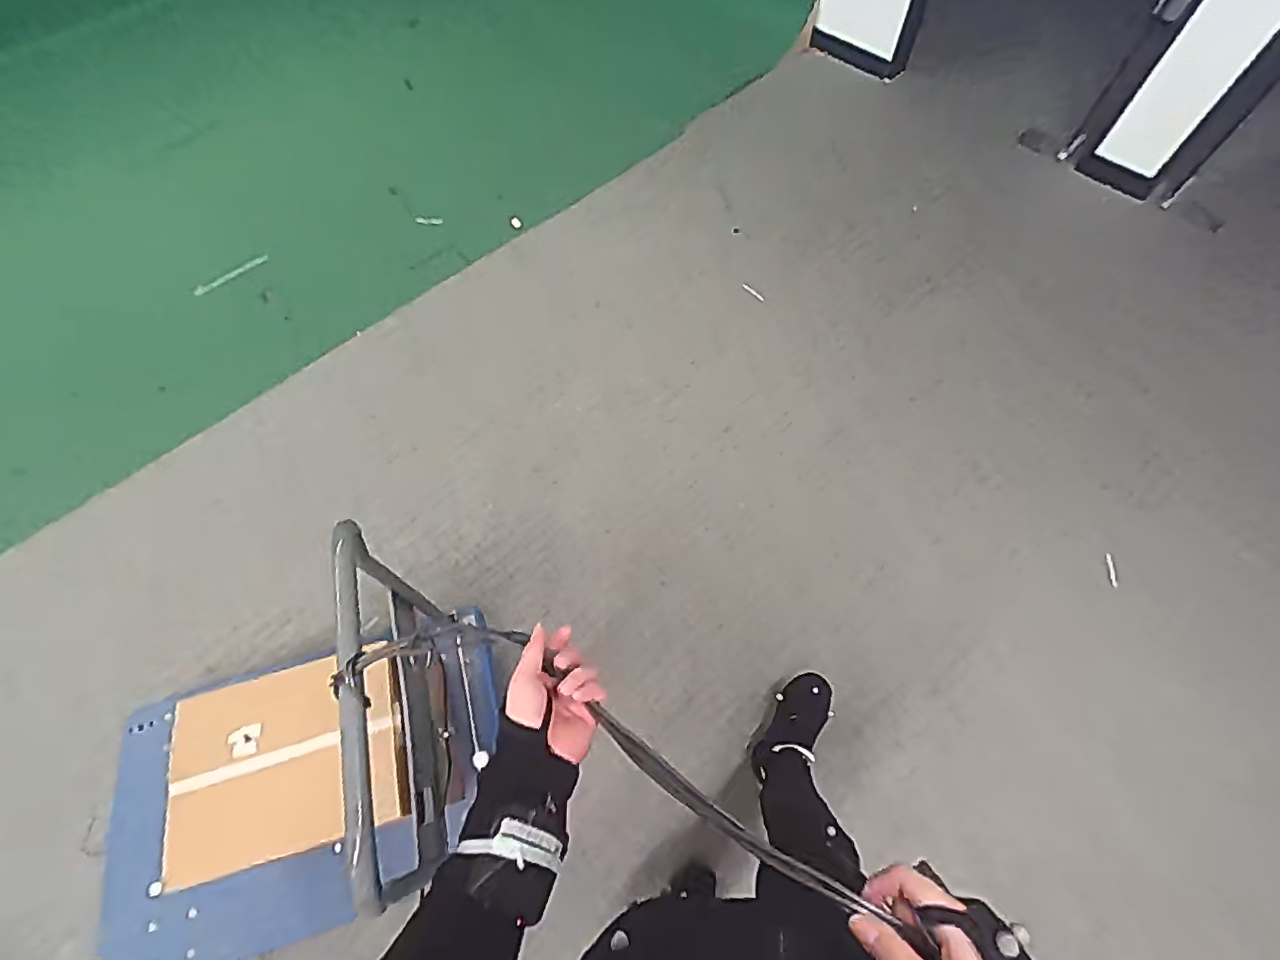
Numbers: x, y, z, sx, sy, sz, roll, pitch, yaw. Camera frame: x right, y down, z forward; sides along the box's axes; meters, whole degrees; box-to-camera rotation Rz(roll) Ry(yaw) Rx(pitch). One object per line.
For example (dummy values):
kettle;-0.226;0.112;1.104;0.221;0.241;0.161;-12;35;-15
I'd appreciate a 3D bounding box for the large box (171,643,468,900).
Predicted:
large box;-0.615;0.563;1.097;0.408;0.320;0.320;-17;64;-4
